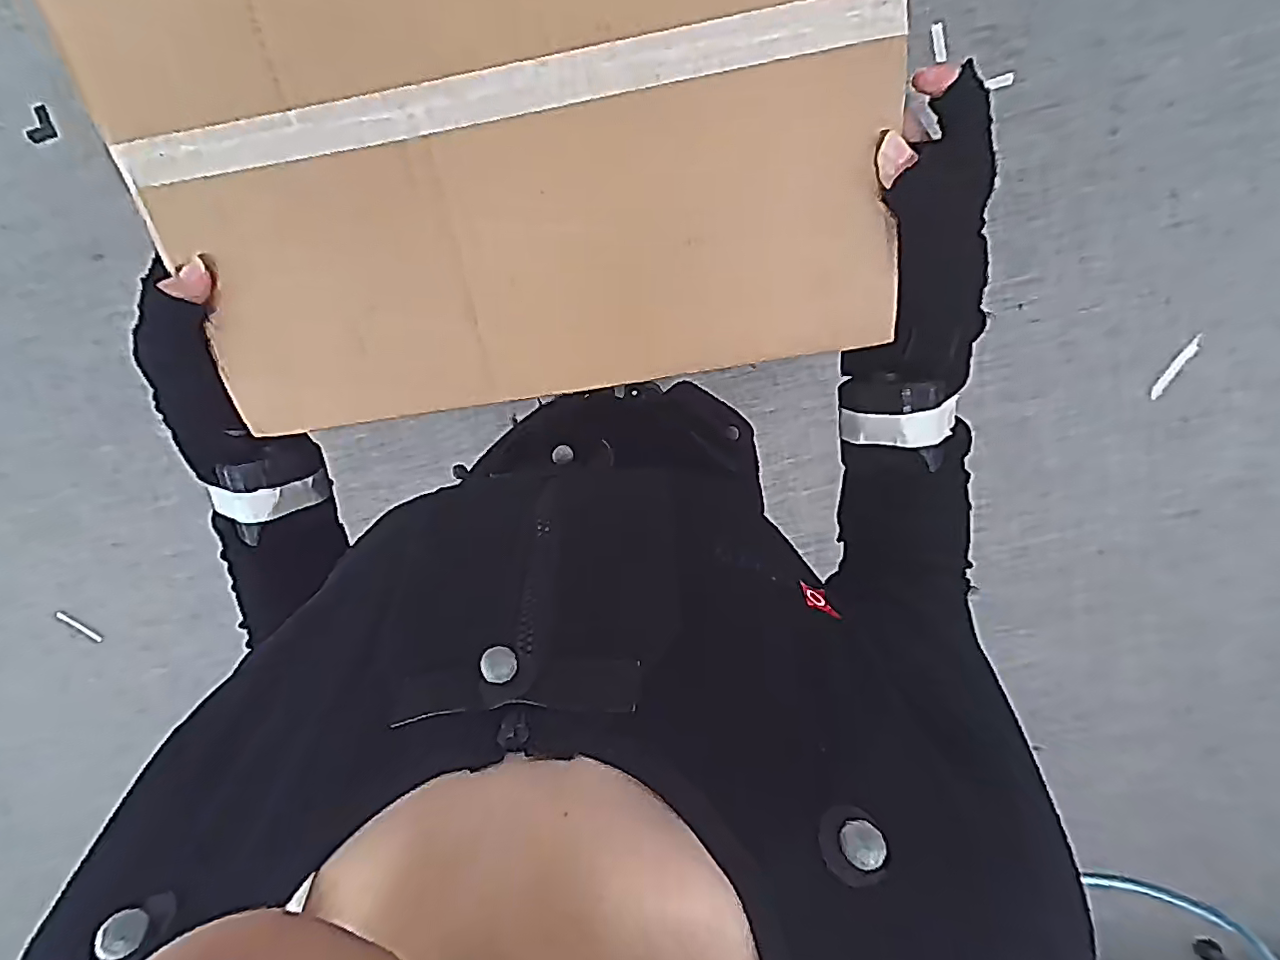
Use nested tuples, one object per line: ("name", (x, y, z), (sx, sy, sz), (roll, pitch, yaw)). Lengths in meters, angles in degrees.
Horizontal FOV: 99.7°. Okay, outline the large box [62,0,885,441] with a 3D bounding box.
("large box", (-0.070, -0.255, 0.418), (0.408, 0.320, 0.320), (-8, 114, 5))
